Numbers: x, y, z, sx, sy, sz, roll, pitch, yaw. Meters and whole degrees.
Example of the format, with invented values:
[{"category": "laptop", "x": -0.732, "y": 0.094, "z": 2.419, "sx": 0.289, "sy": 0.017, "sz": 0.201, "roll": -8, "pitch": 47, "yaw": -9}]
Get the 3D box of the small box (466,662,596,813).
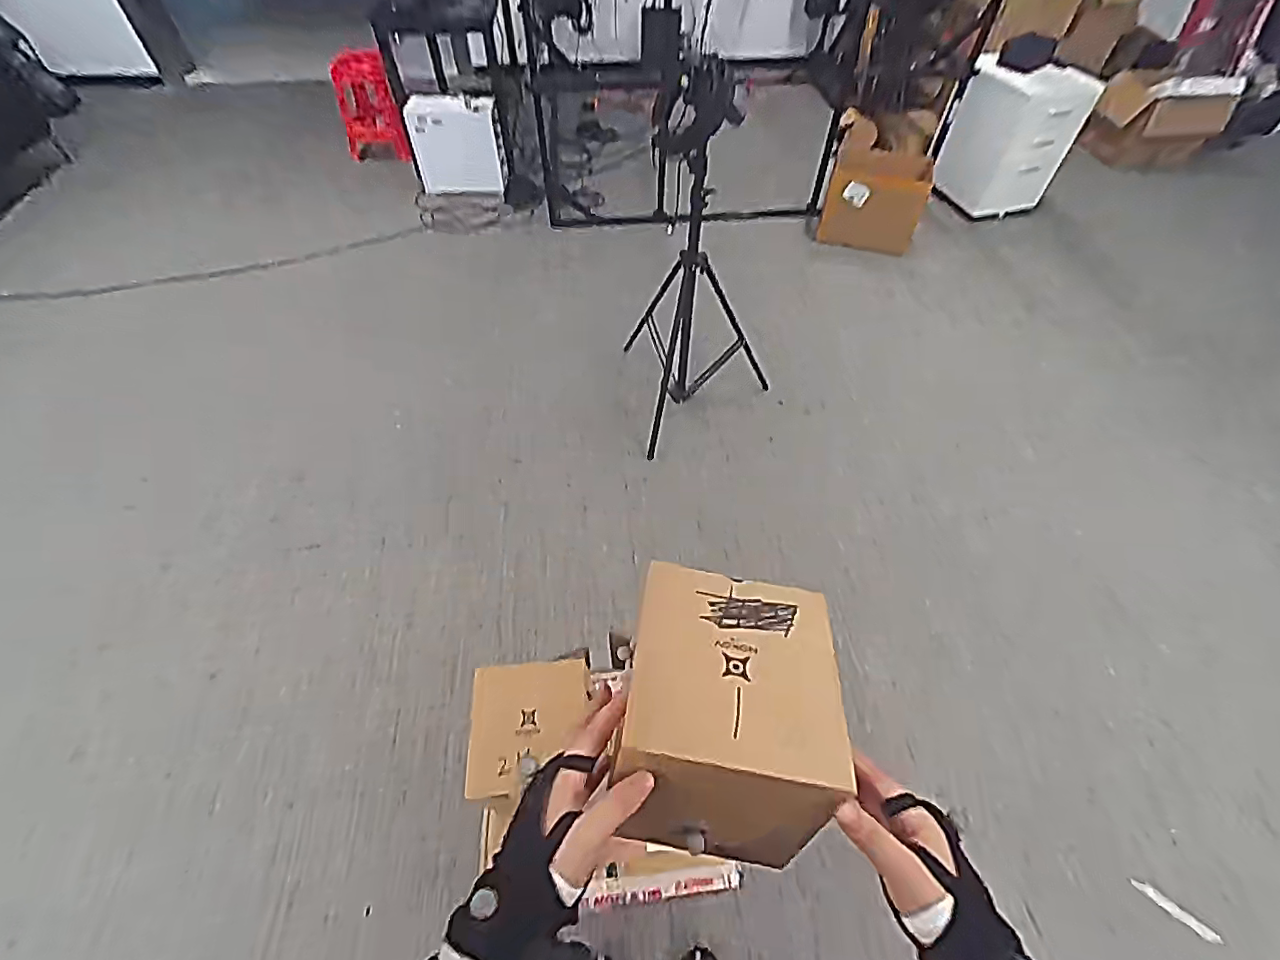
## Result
[{"category": "small box", "x": -0.157, "y": 0.401, "z": 0.838, "sx": 0.168, "sy": 0.176, "sz": 0.179, "roll": -5, "pitch": 54, "yaw": -2}]
